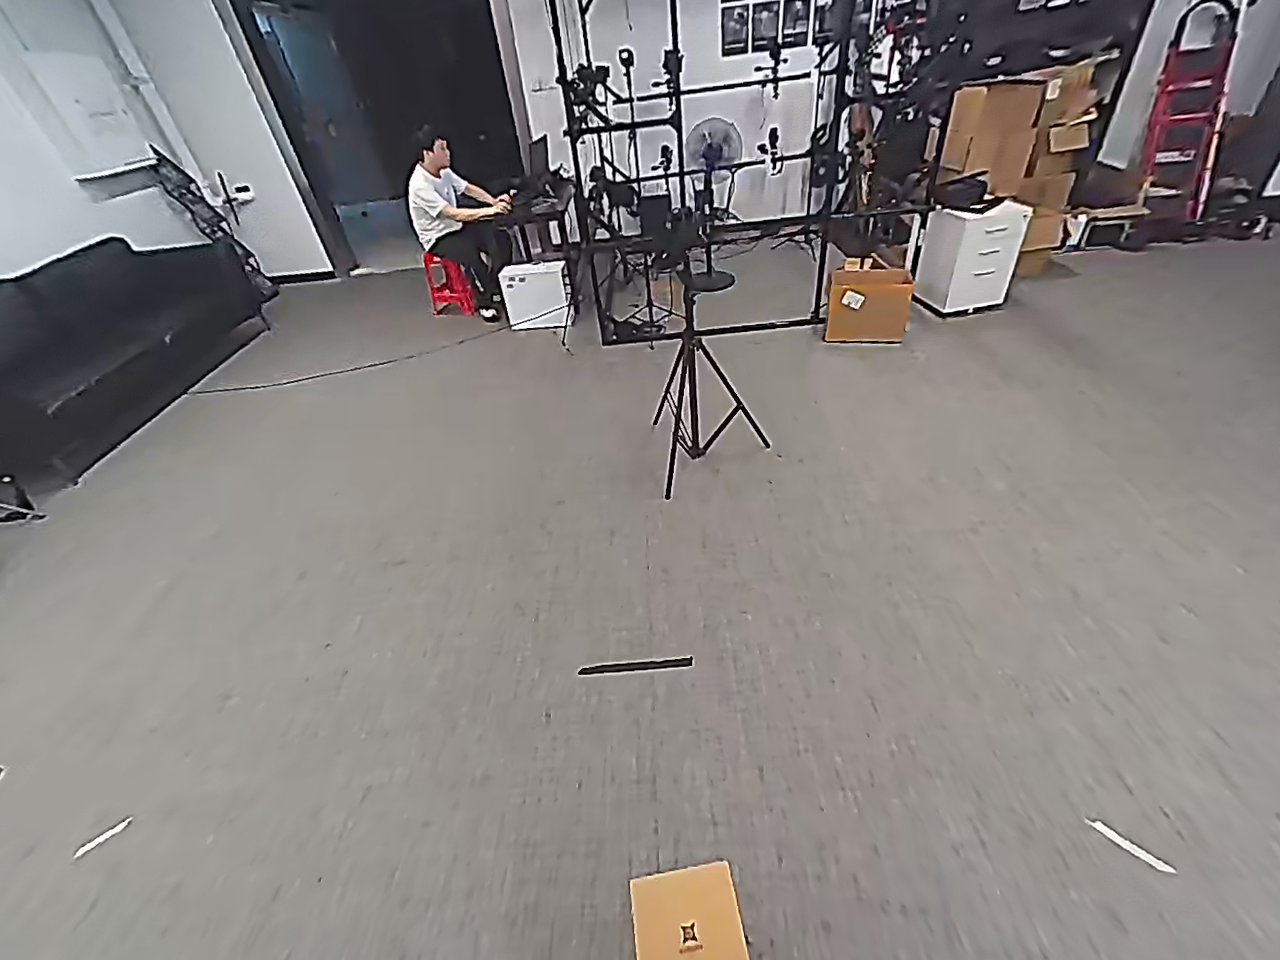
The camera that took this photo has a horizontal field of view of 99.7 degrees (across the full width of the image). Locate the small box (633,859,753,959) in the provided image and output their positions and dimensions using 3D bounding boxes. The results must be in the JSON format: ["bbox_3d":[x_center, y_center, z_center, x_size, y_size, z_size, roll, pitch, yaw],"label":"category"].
[{"bbox_3d":[0.085,0.742,0.856,0.168,0.176,0.179,-10,39,-3],"label":"small box"}]
